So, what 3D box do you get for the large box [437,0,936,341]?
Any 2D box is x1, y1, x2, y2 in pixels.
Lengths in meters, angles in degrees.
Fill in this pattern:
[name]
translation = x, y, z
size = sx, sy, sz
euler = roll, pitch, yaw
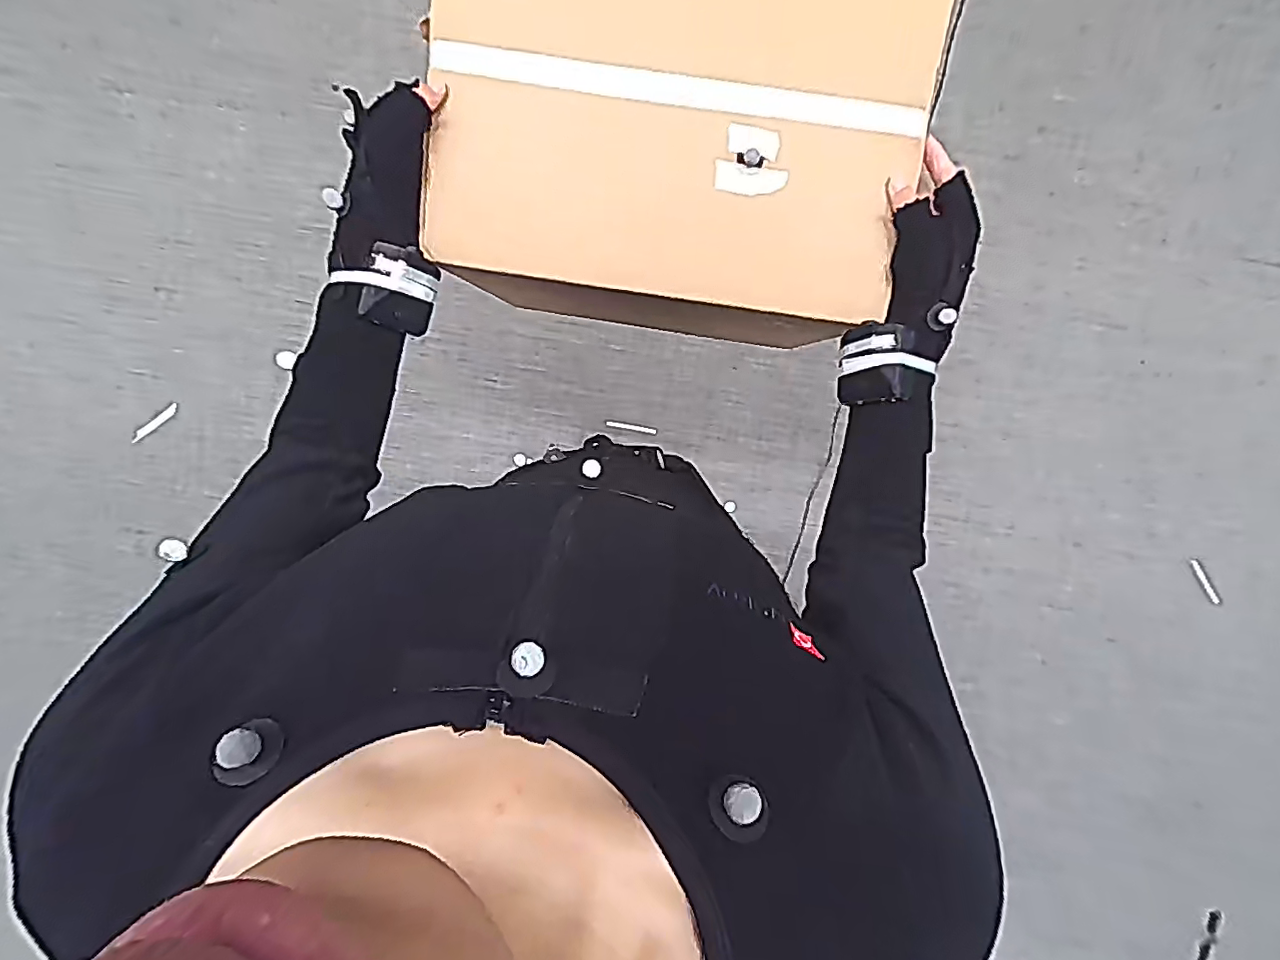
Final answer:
[large box]
translation = 0.033, -0.344, 0.602
size = 0.408, 0.320, 0.320
euler = 8, 101, -1
